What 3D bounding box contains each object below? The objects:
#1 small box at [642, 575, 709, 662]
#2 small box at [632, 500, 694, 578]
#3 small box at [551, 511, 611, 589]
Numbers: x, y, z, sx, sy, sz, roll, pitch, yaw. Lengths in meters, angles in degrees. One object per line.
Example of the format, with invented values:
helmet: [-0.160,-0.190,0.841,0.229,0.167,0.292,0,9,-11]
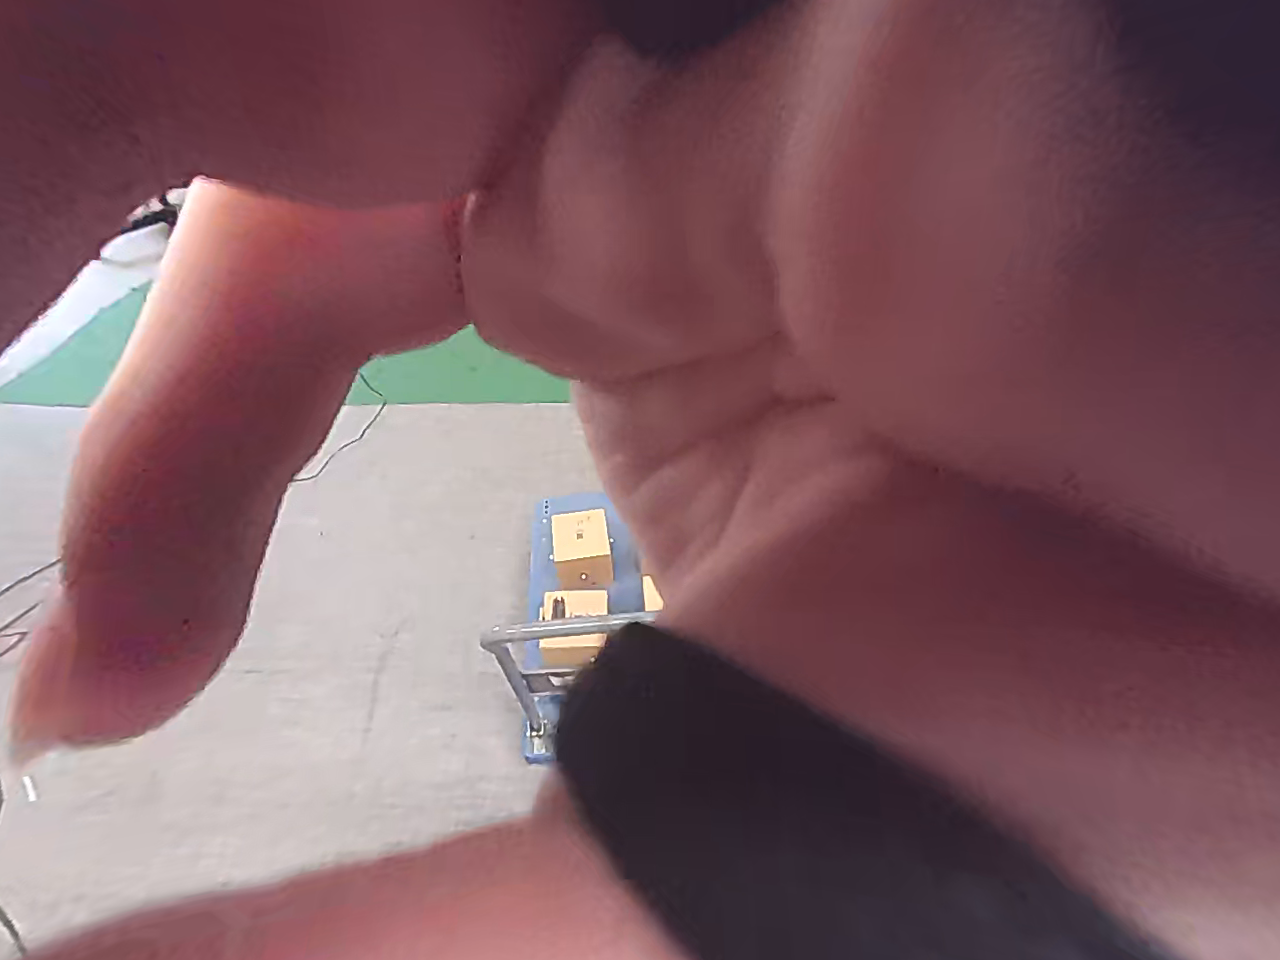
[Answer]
small box: [0.093,0.387,1.512,0.168,0.176,0.179,-4,48,-2]
small box: [0.068,0.188,1.693,0.168,0.176,0.179,-8,49,-4]
small box: [-0.181,0.221,1.670,0.168,0.176,0.179,-7,48,-6]
